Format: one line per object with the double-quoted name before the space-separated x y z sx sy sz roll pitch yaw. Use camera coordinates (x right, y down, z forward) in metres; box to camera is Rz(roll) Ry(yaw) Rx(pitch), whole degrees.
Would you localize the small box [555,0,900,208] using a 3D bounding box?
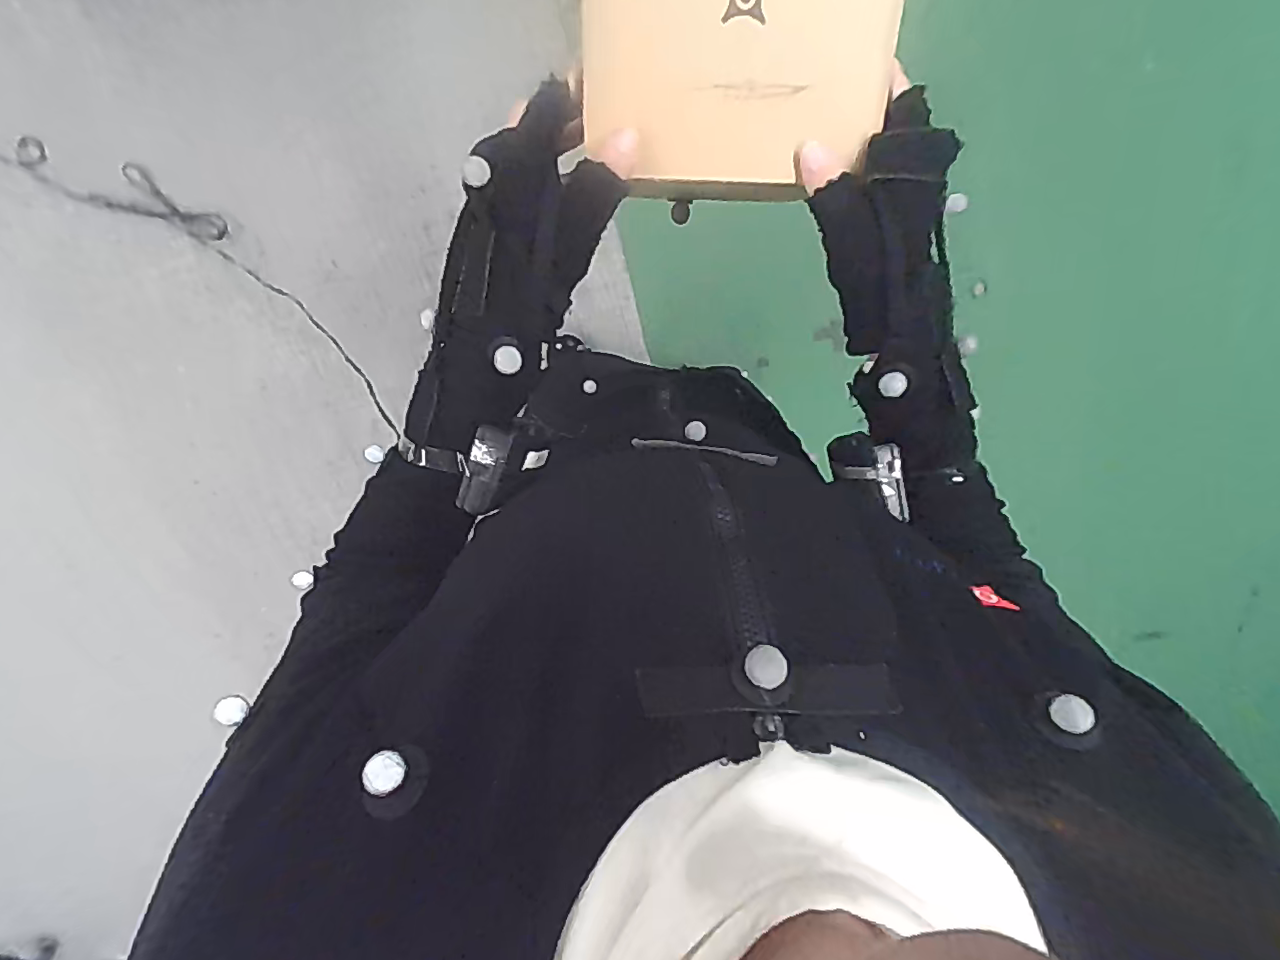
"small box" 0.039 -0.271 0.322 0.168 0.176 0.179 2 113 -3
